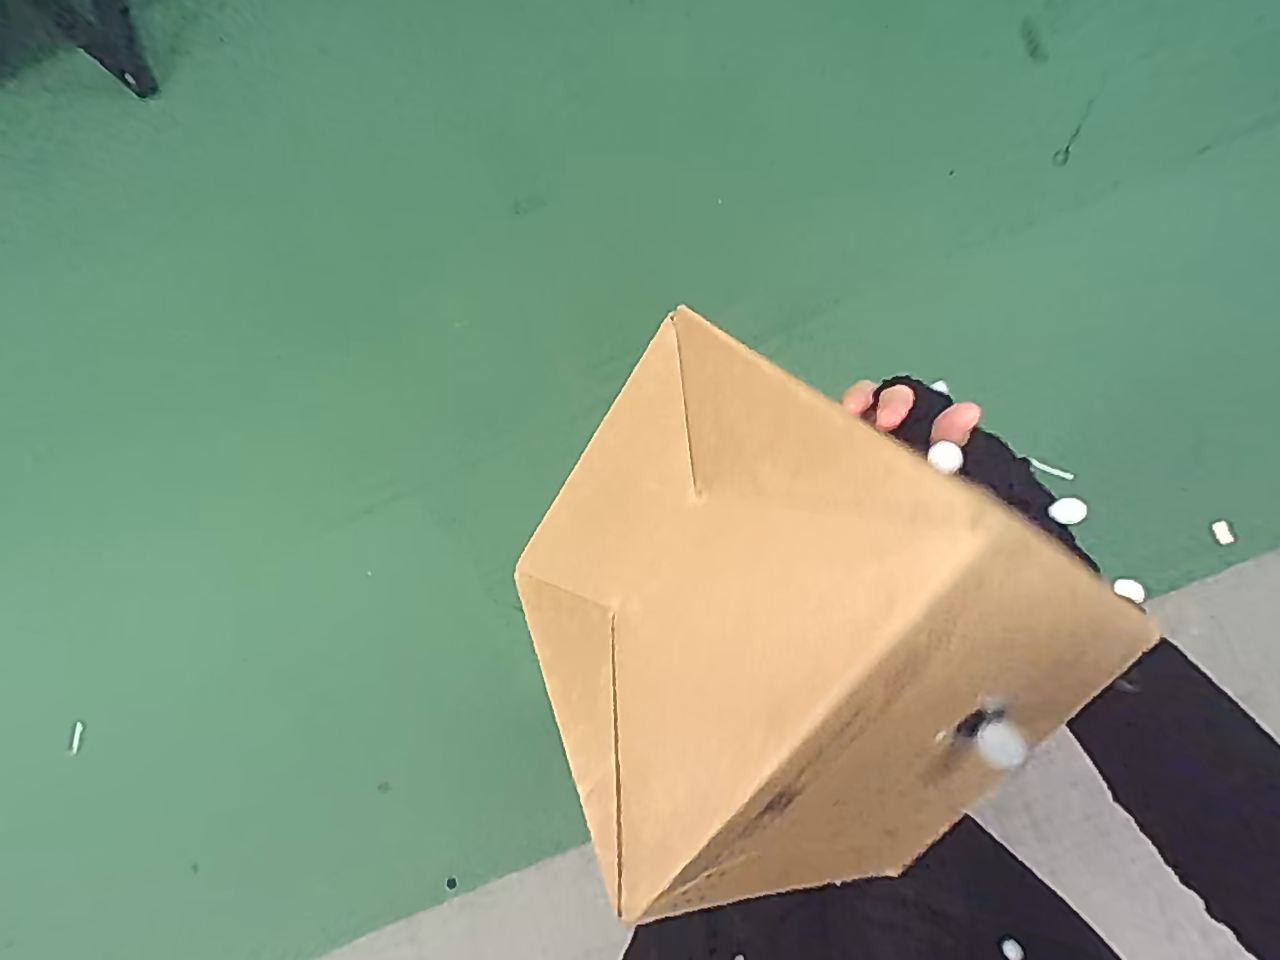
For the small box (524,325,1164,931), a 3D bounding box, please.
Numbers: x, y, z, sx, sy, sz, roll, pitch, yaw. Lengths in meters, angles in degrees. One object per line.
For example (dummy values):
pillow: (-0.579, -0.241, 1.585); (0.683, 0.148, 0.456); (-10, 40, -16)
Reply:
small box: (0.065, 0.058, 0.248); (0.168, 0.176, 0.179); (-56, 39, 20)
